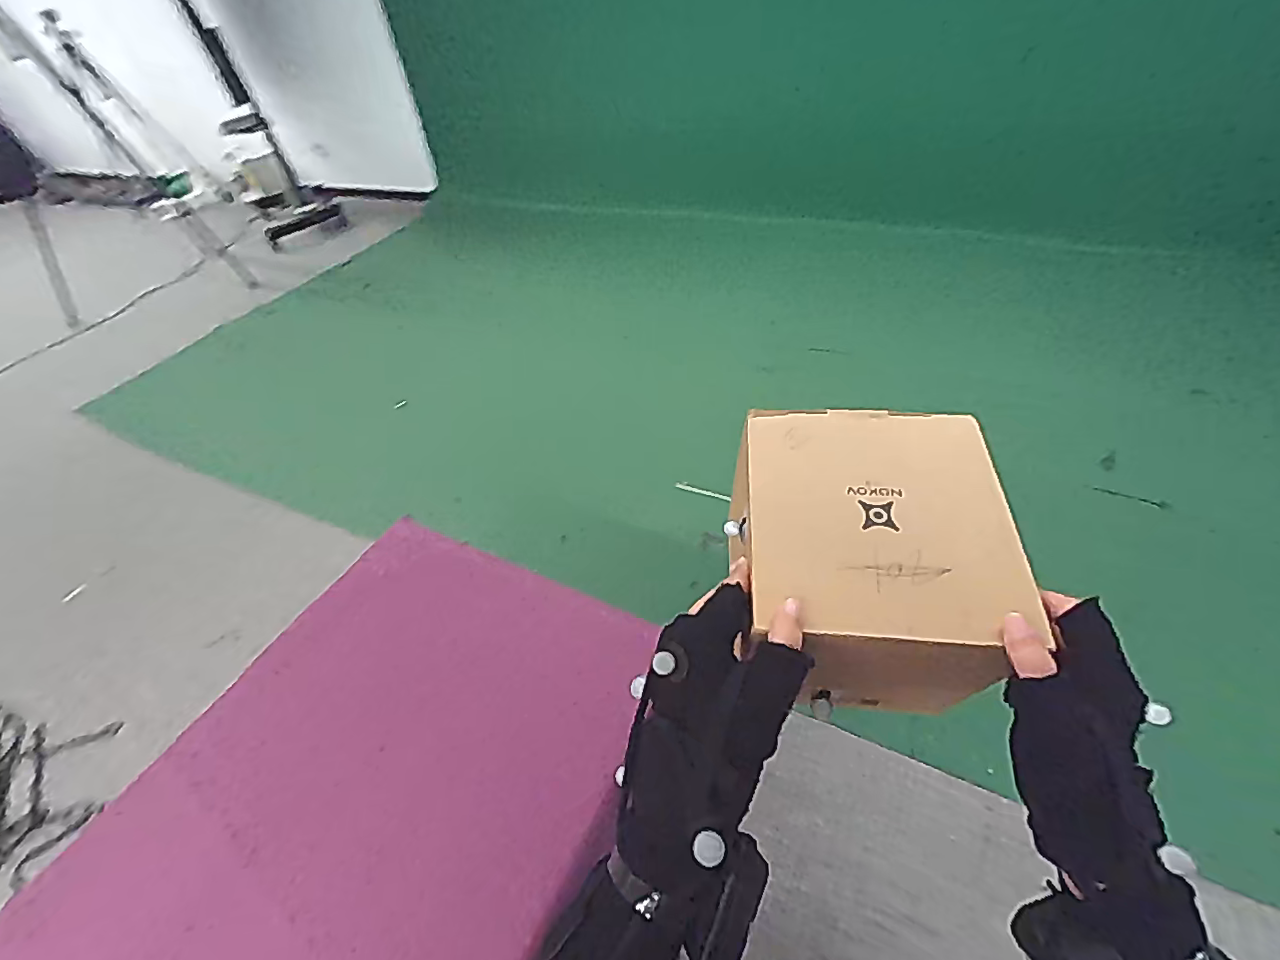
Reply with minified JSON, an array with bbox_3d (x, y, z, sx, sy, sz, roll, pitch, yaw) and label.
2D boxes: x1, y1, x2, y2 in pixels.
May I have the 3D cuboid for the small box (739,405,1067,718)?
[{"bbox_3d":[0.165,0.065,0.414,0.168,0.176,0.179,3,56,6],"label":"small box"}]
